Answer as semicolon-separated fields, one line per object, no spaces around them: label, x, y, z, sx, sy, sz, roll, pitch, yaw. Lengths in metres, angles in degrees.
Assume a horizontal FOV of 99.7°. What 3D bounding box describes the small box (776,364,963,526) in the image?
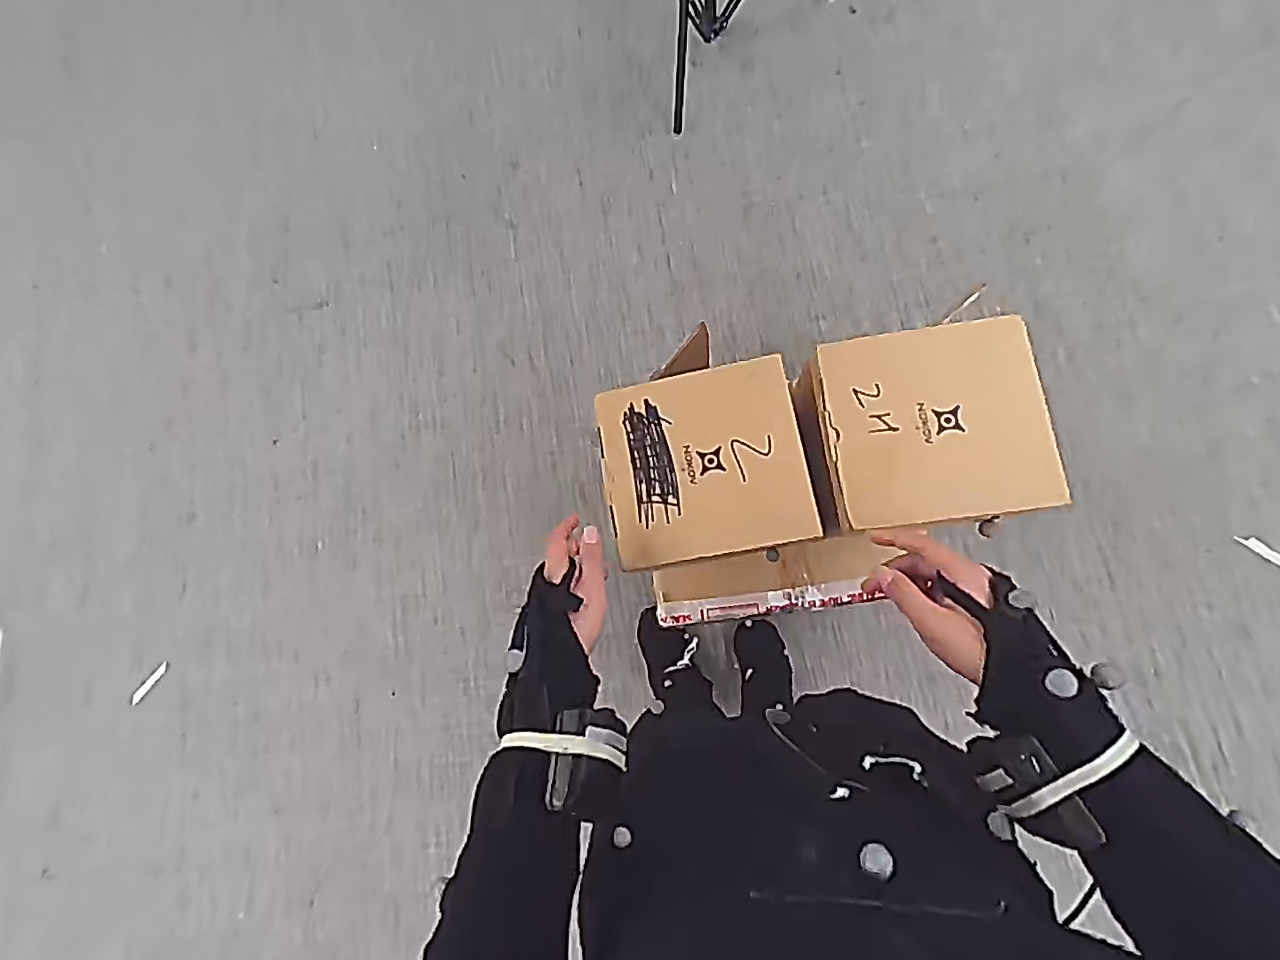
small box;0.273;-0.033;0.690;0.179;0.176;0.168;-5;80;6
